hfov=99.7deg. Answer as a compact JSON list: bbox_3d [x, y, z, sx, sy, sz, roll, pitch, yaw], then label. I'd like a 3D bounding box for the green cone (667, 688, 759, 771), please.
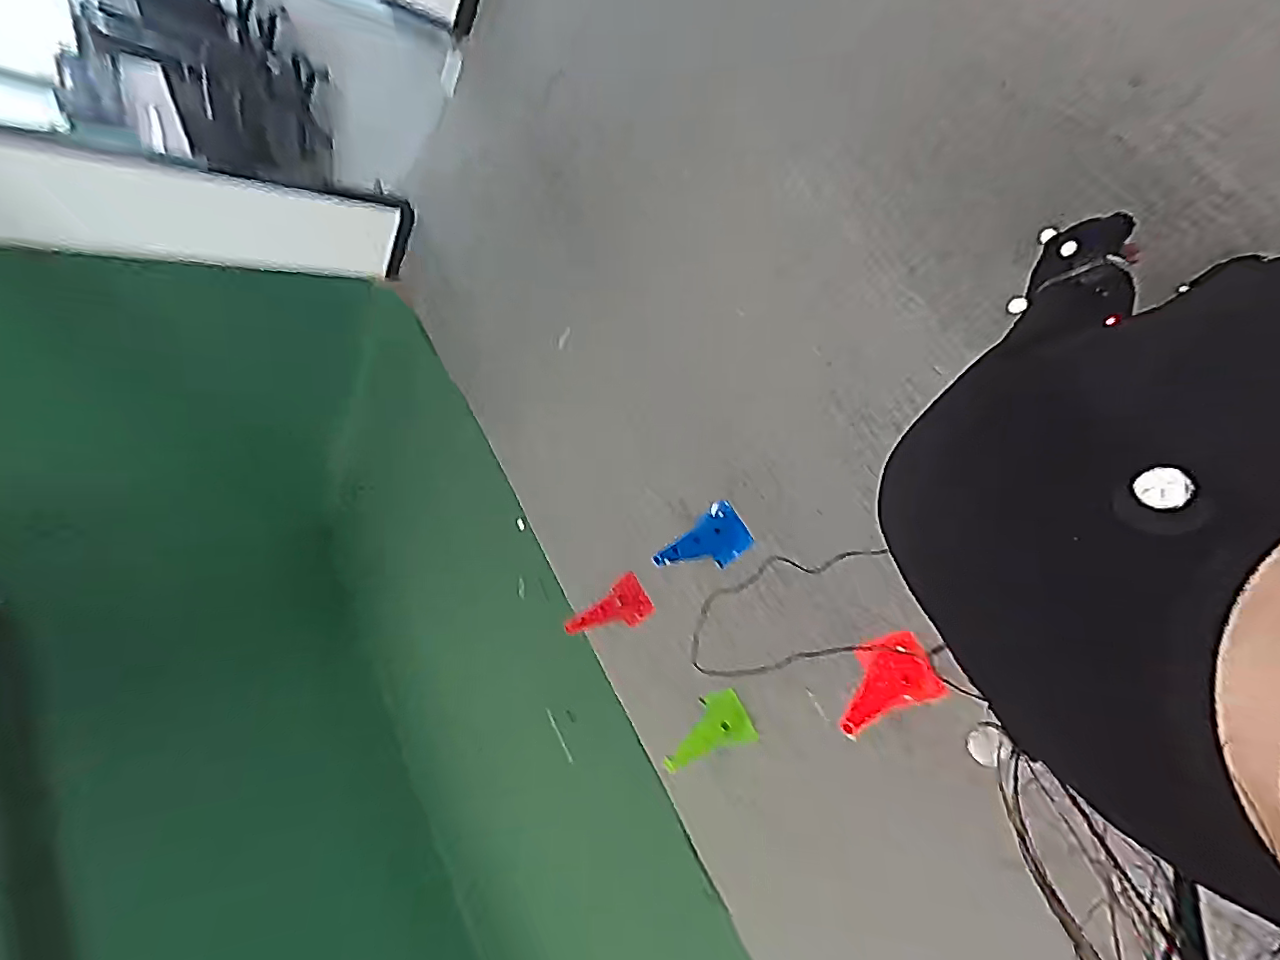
[{"bbox_3d":[0.224,0.935,1.939,0.202,0.368,0.200,-42,70,41],"label":"green cone"}]

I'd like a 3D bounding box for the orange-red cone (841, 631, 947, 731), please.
[{"bbox_3d":[0.636,0.575,1.452,0.199,0.360,0.198,-40,70,44],"label":"orange-red cone"}]
